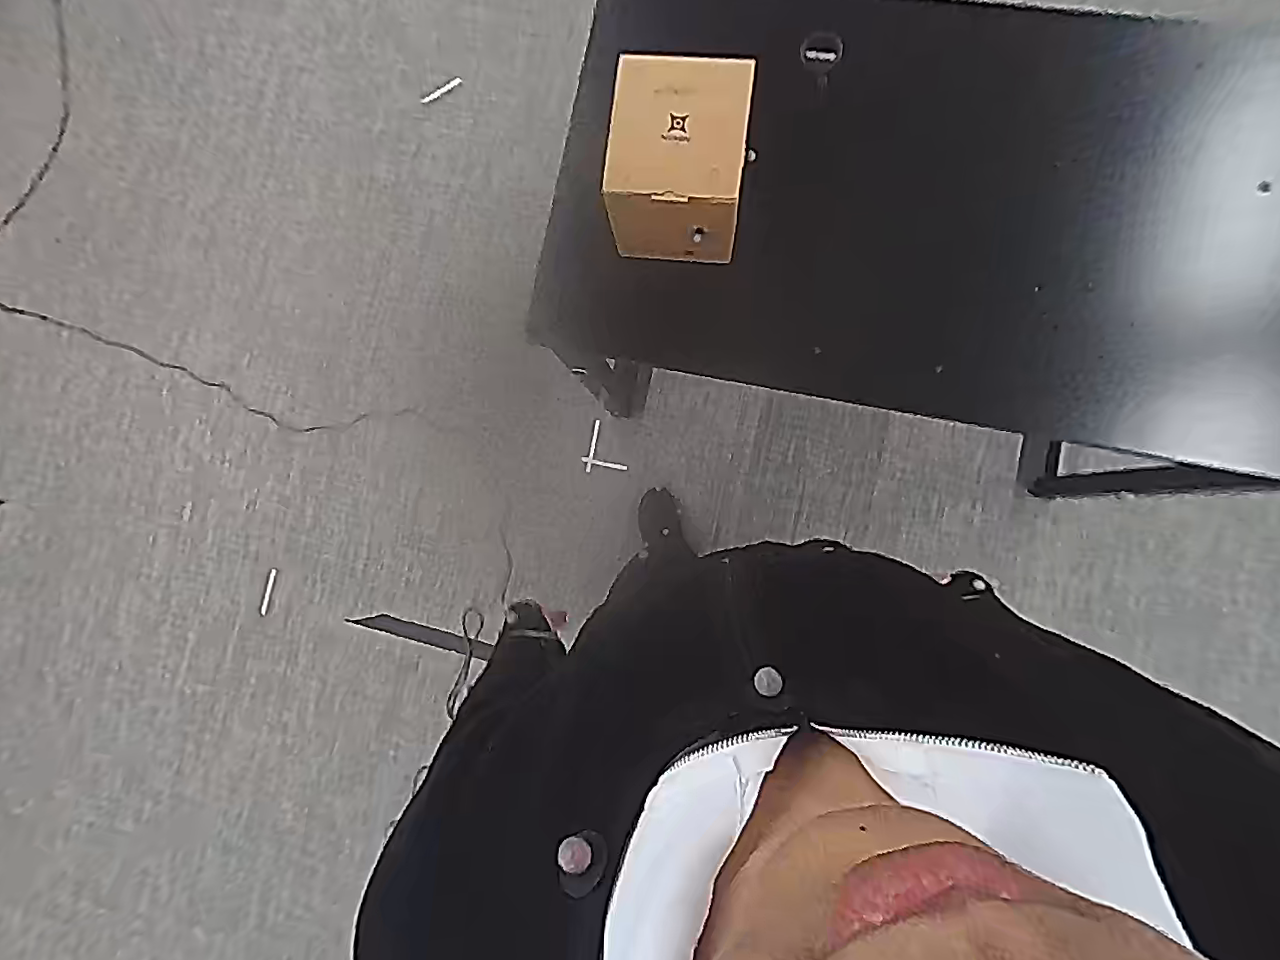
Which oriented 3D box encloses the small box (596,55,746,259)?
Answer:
[{"bbox_3d":[0.044,-0.415,0.720,0.168,0.176,0.179,5,87,5],"label":"small box"}]
